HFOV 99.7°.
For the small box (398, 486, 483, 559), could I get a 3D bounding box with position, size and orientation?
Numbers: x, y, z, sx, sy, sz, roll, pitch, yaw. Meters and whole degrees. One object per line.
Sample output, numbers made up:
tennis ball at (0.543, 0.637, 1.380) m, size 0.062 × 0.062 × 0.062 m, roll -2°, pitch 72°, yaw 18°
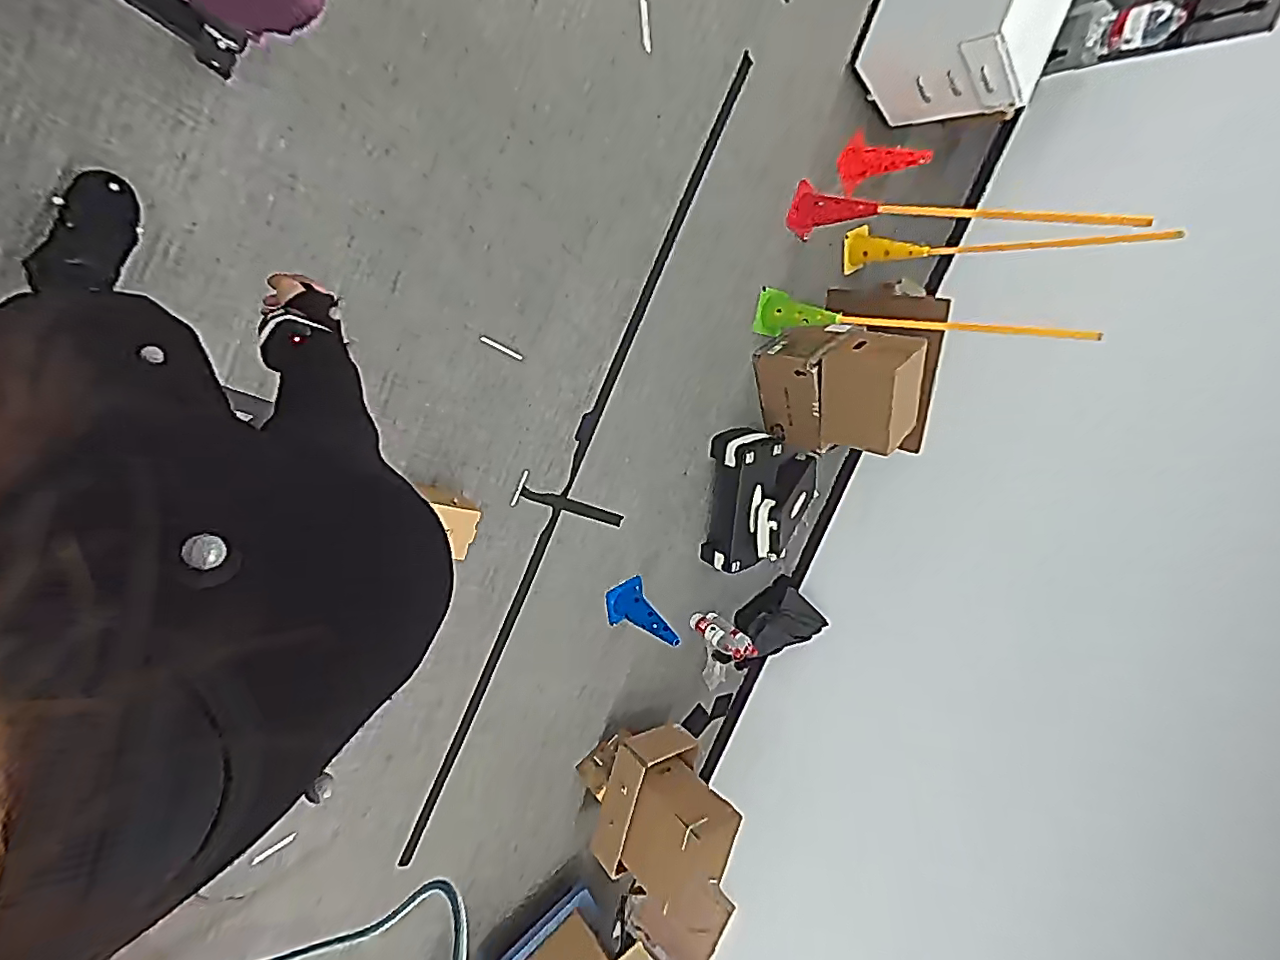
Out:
small box at (-0.622, 0.128, 1.671) m, size 0.179 × 0.176 × 0.168 m, roll 16°, pitch 99°, yaw -44°
